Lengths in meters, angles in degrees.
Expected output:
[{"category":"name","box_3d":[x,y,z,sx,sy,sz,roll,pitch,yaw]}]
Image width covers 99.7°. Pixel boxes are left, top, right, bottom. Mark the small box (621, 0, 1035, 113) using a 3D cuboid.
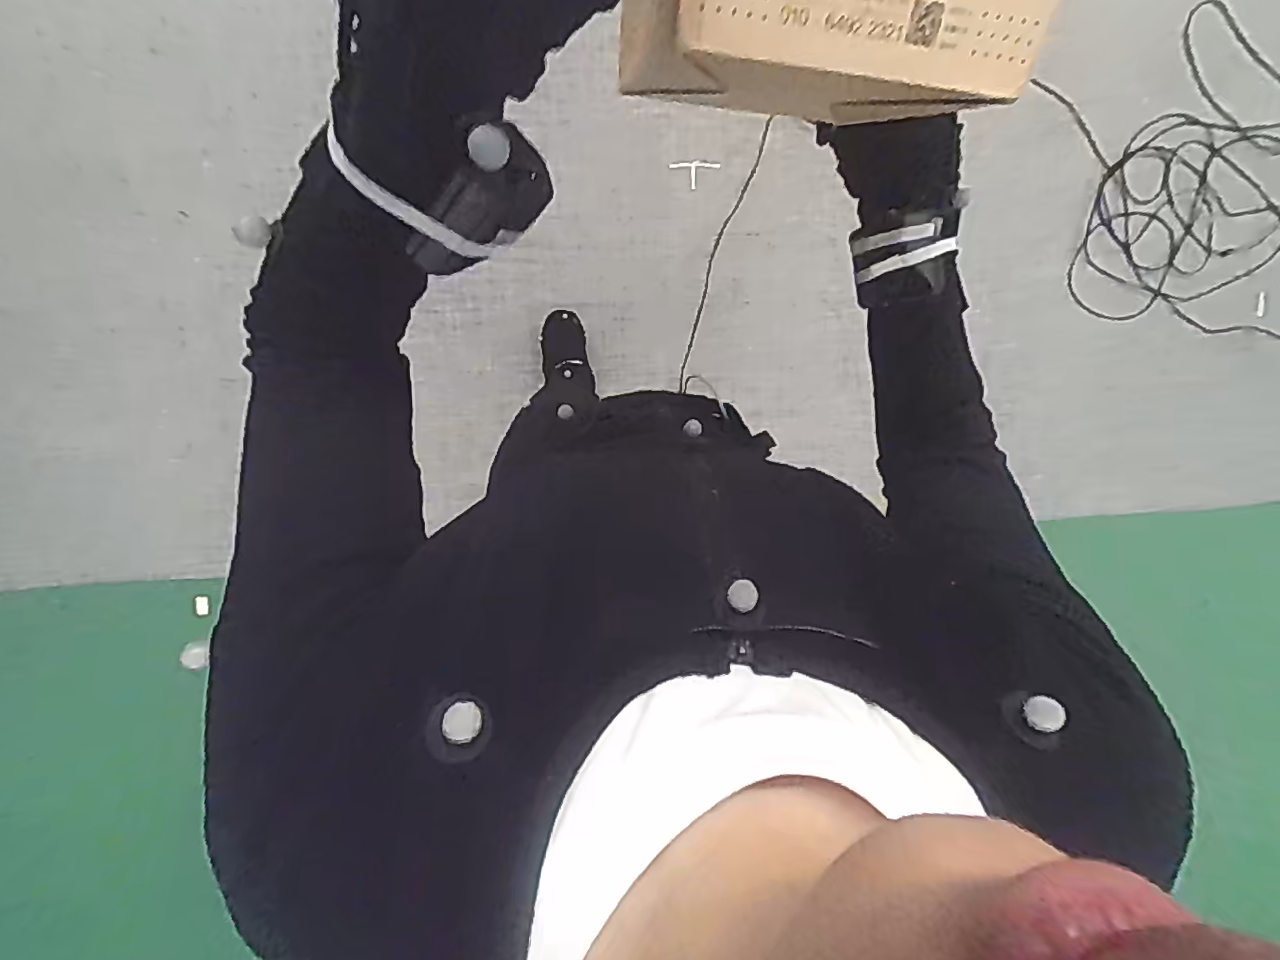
[{"category":"small box","box_3d":[0.086,-0.294,0.269,0.168,0.179,0.176,-1,120,-11]}]
